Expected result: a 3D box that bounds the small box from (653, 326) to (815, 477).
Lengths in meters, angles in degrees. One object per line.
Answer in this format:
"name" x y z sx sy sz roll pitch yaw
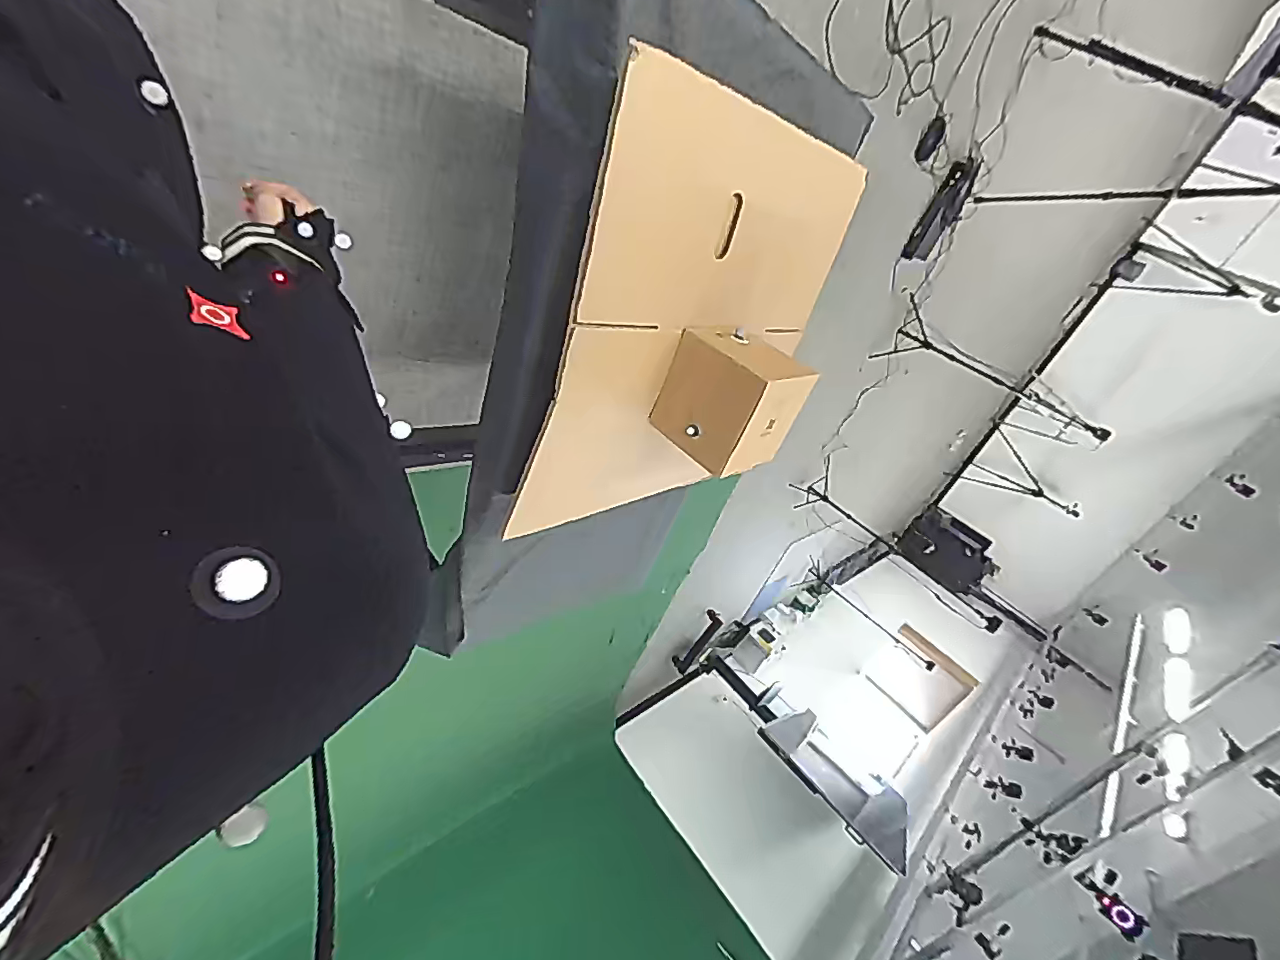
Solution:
"small box" 0.145 -0.135 0.887 0.168 0.176 0.179 -18 139 -45
